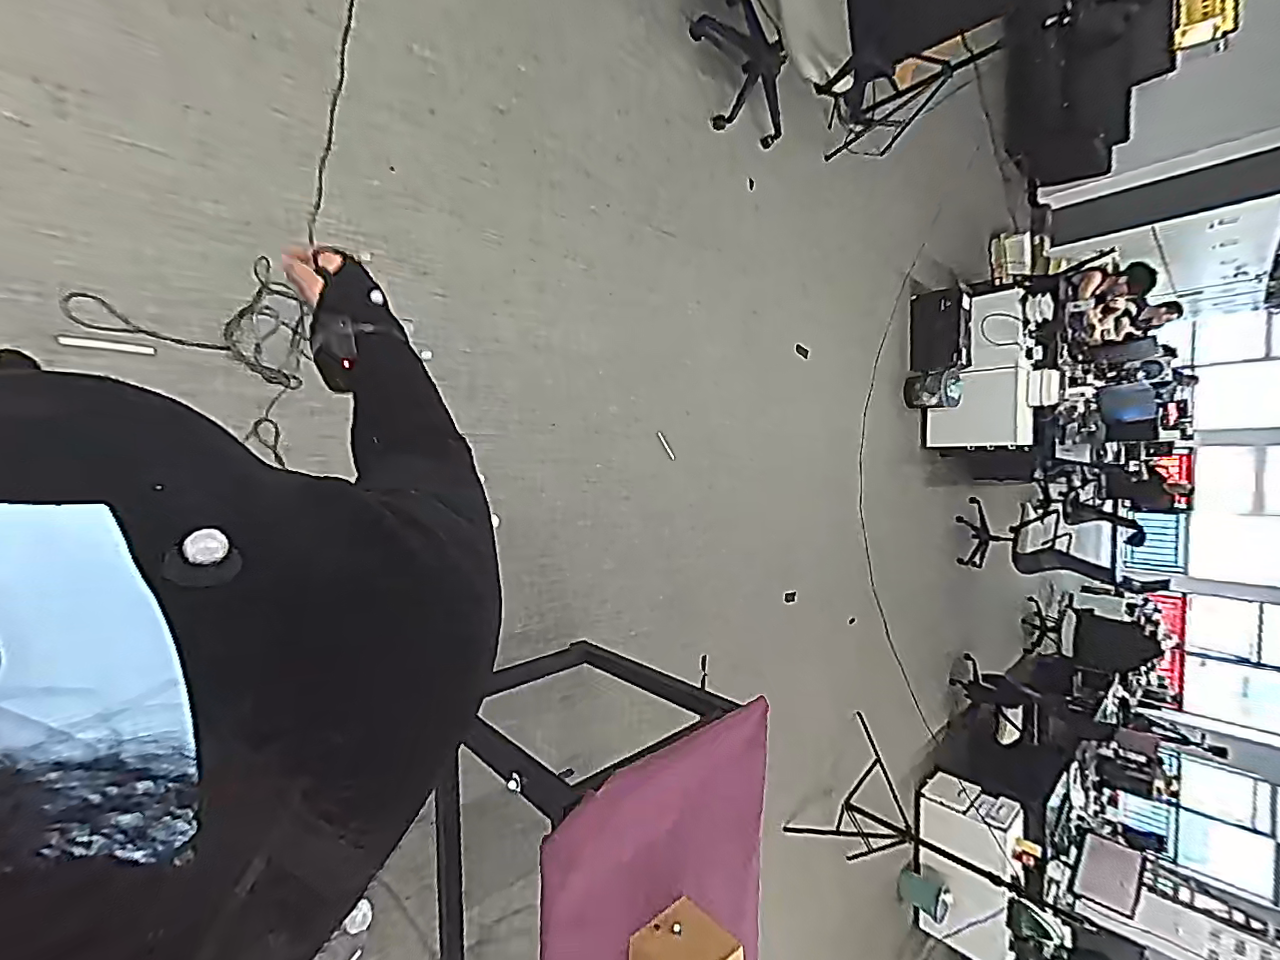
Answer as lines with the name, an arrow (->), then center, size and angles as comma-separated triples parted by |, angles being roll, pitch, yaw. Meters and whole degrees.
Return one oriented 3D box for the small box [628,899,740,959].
small box -> 0.085, 1.024, 1.104 | 0.168, 0.176, 0.179 | -1, 92, -43
